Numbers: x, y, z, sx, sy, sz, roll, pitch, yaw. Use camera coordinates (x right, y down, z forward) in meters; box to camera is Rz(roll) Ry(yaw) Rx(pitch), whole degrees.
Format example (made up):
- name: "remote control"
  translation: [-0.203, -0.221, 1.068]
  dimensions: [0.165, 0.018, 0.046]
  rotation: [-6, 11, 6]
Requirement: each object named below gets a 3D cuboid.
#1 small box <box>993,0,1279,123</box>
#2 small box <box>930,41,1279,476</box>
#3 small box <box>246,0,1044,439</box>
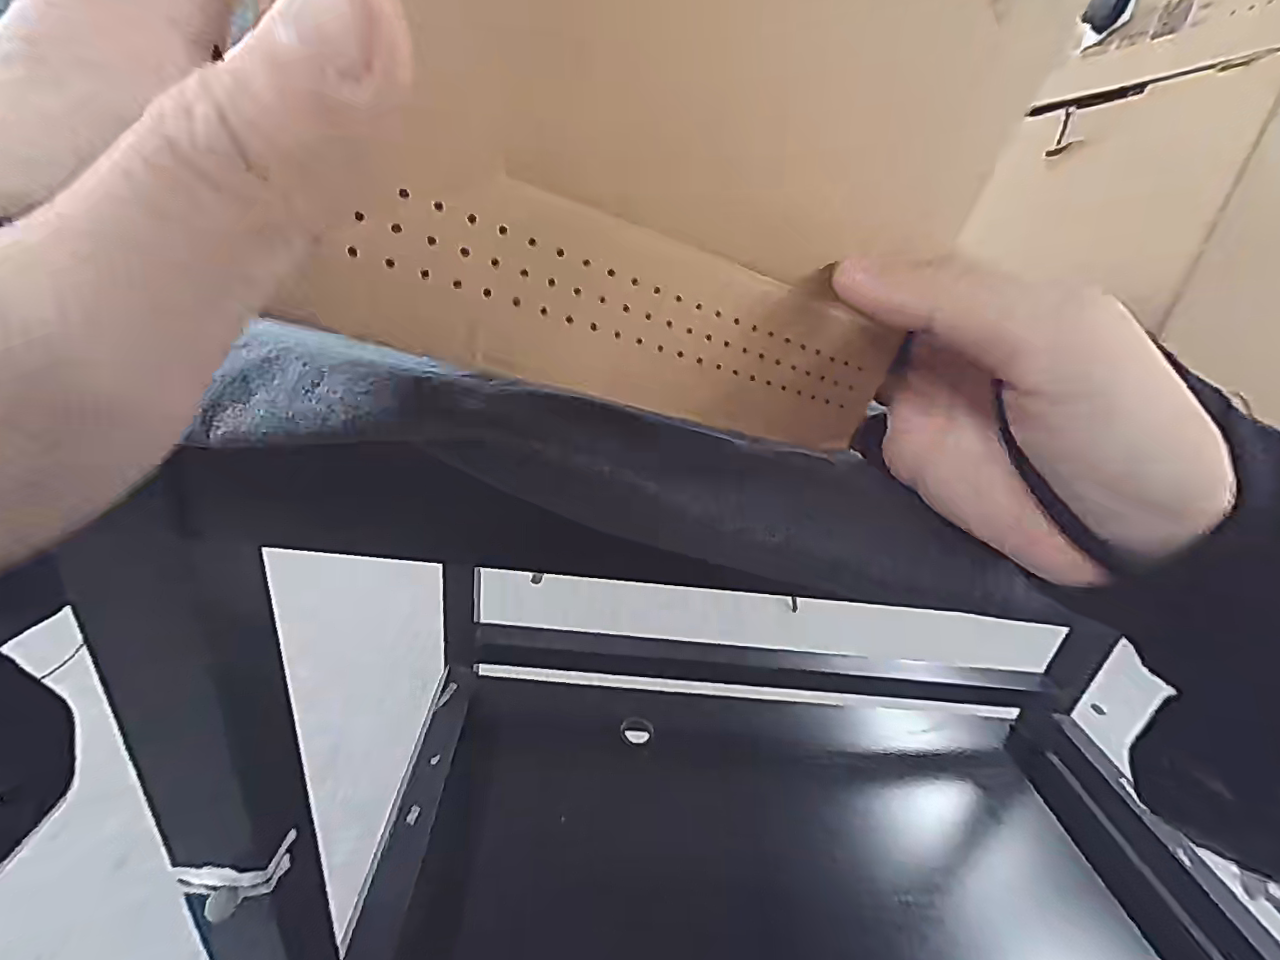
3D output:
- name: "small box"
  translation: [0.321, -0.262, 0.258]
  dimensions: [0.179, 0.176, 0.168]
  rotation: [2, 23, -12]
- name: "small box"
  translation: [0.302, -0.111, 0.314]
  dimensions: [0.179, 0.176, 0.168]
  rotation: [5, 24, -8]
- name: "small box"
  translation: [-0.009, -0.127, 0.175]
  dimensions: [0.179, 0.176, 0.168]
  rotation: [8, 26, -33]
